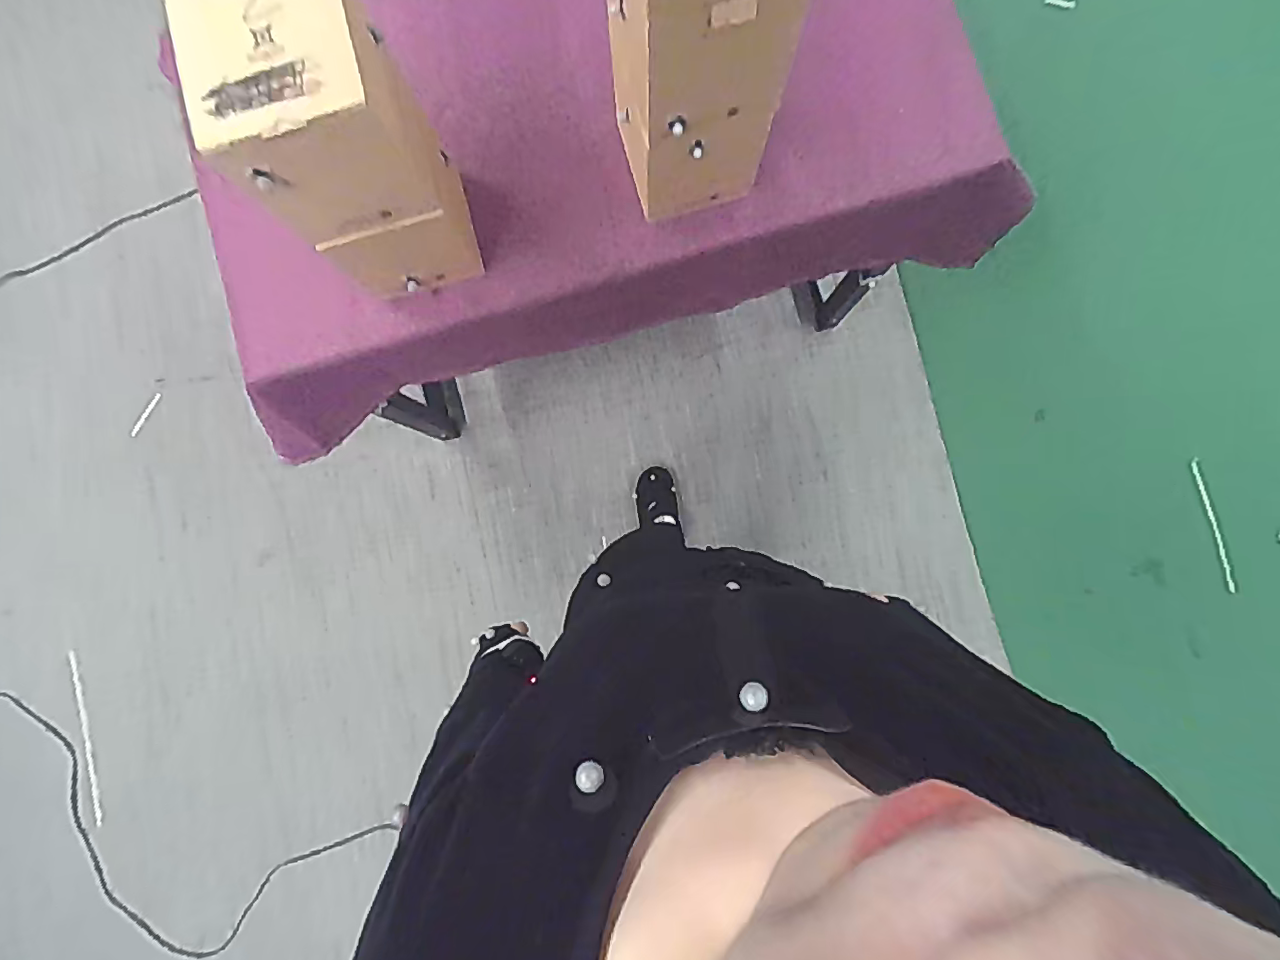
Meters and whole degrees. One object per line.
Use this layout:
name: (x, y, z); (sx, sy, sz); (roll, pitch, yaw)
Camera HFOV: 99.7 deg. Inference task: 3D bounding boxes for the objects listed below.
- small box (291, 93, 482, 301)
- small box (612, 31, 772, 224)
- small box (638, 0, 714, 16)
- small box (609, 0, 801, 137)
small box: (-0.338, -0.379, 0.751); (0.168, 0.176, 0.179); (-15, 86, 1)
small box: (0.065, -0.498, 0.752); (0.168, 0.176, 0.179); (-16, 85, 1)
small box: (0.062, -0.522, 0.423); (0.179, 0.176, 0.168); (-16, 86, 0)
small box: (0.063, -0.513, 0.588); (0.168, 0.176, 0.179); (-17, 85, 0)
